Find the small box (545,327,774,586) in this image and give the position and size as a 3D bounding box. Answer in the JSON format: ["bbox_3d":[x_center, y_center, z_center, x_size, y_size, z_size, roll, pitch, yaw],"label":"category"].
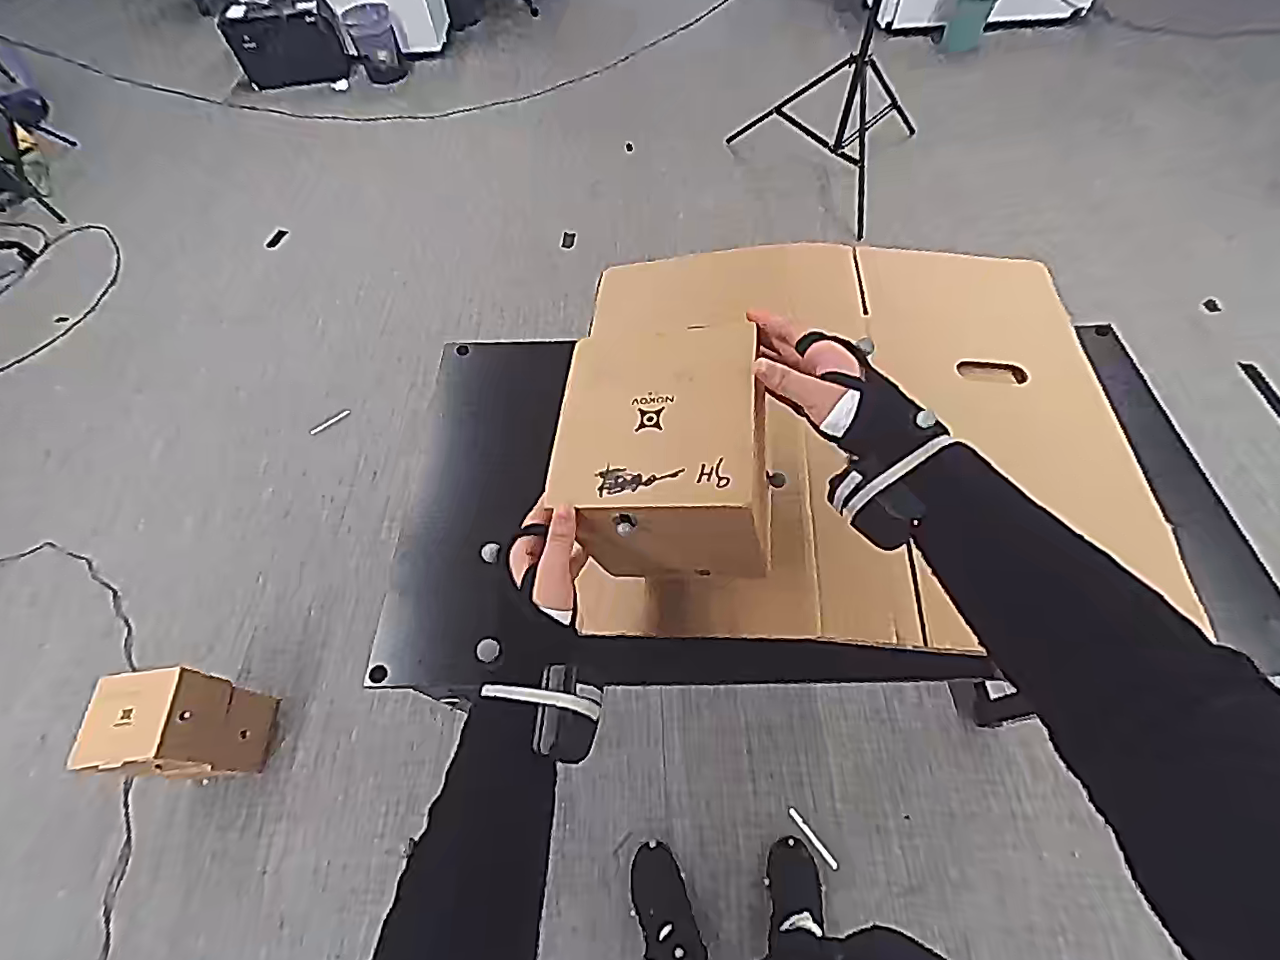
[{"bbox_3d":[0.034,-0.014,0.509,0.168,0.176,0.179,-2,60,18],"label":"small box"}]

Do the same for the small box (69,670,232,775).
[{"bbox_3d":[-1.009,0.515,1.137,0.168,0.176,0.179,-7,58,-3],"label":"small box"}]

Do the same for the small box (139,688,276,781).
[{"bbox_3d":[-1.002,0.603,1.274,0.168,0.176,0.179,-5,60,0],"label":"small box"}]
